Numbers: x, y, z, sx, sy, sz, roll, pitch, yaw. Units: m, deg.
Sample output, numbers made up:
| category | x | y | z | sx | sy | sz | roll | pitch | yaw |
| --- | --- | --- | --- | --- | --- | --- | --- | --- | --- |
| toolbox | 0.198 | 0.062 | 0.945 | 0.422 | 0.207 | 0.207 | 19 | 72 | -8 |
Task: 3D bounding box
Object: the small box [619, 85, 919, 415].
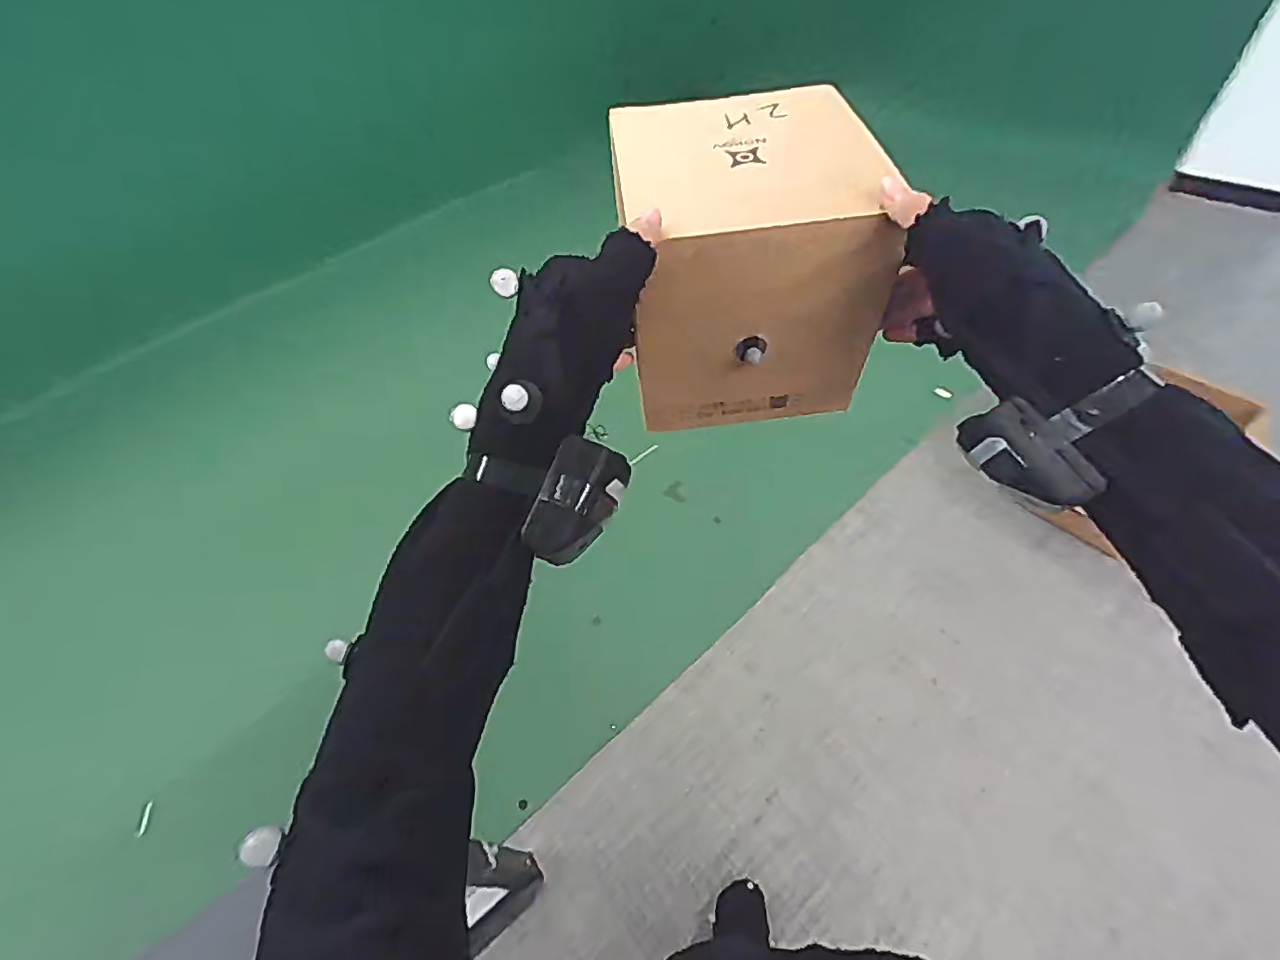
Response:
| category | x | y | z | sx | sy | sz | roll | pitch | yaw |
| --- | --- | --- | --- | --- | --- | --- | --- | --- | --- |
| small box | 0.077 | -0.164 | 0.415 | 0.168 | 0.176 | 0.179 | -6 | 55 | 0 |
